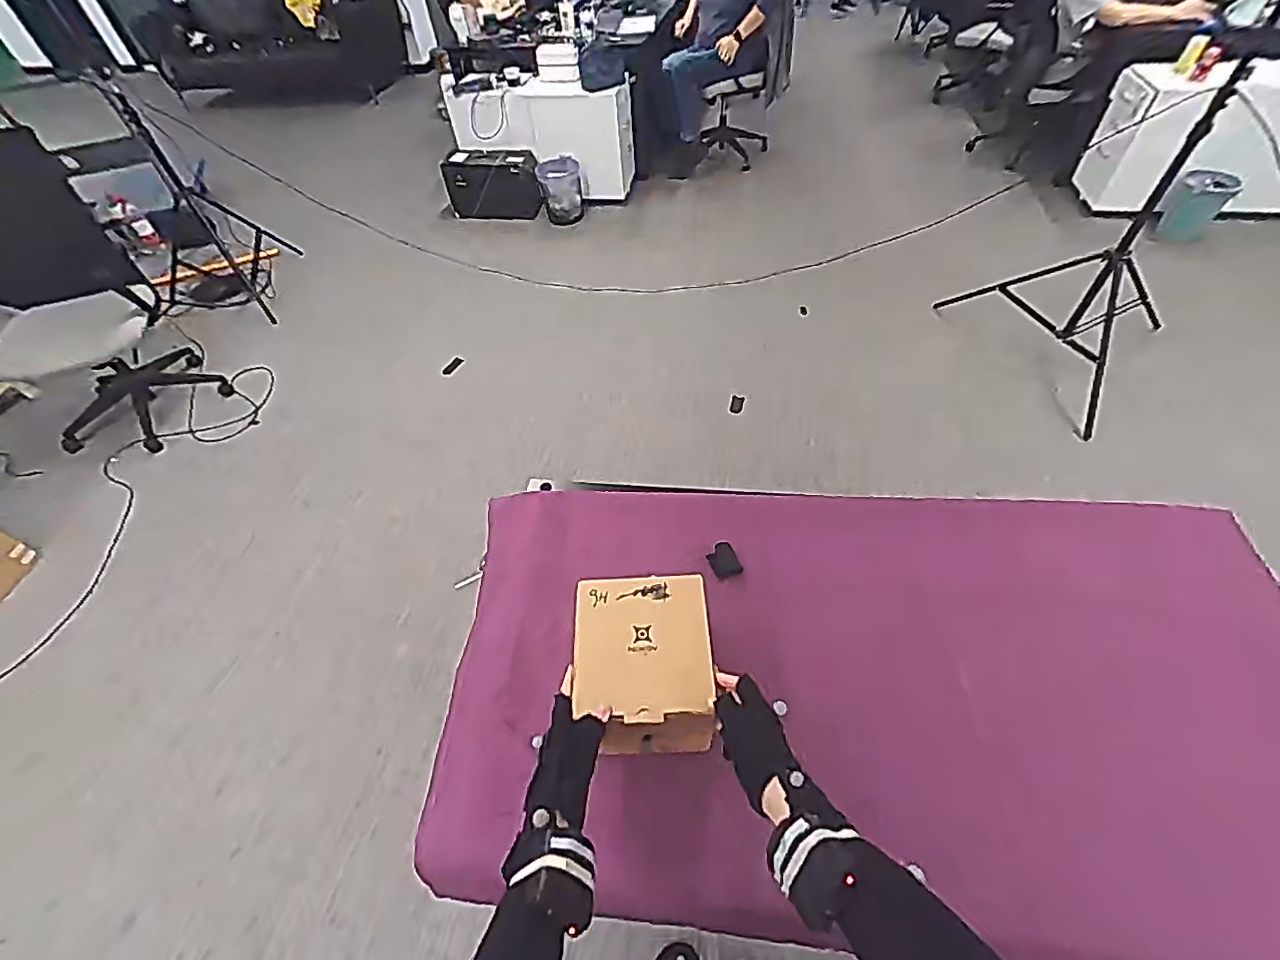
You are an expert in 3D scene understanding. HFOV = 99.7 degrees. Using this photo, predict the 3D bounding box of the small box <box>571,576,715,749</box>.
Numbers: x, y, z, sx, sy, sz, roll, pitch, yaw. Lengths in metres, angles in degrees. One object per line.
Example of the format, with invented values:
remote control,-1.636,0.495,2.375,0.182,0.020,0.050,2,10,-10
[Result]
small box,0.007,0.246,0.715,0.168,0.176,0.179,-3,51,1
